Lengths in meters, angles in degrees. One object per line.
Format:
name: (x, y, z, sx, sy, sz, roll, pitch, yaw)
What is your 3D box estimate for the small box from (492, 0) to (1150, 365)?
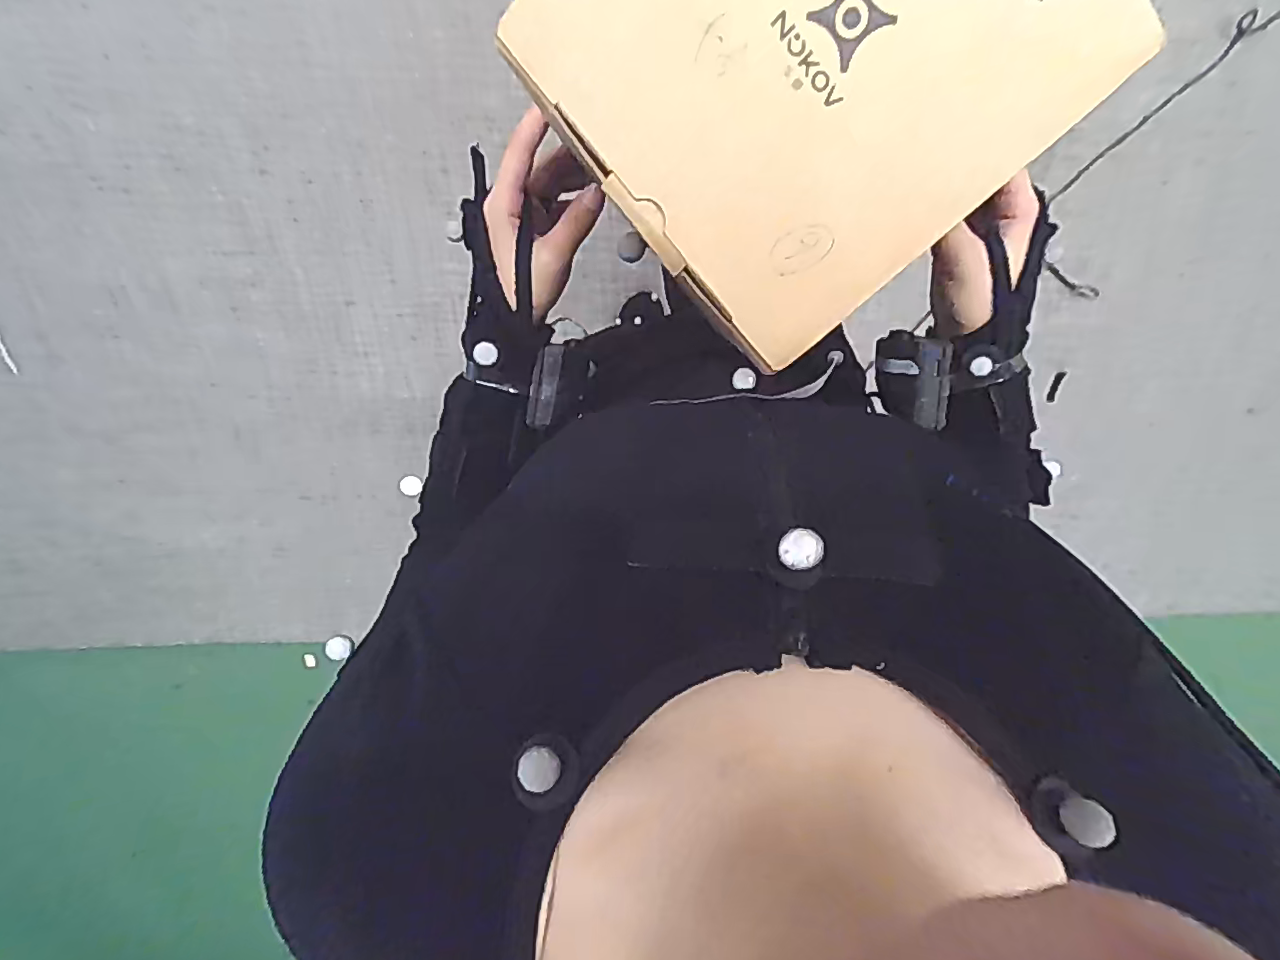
small box: (0.065, -0.185, 0.266, 0.179, 0.176, 0.168, -40, 105, 16)
